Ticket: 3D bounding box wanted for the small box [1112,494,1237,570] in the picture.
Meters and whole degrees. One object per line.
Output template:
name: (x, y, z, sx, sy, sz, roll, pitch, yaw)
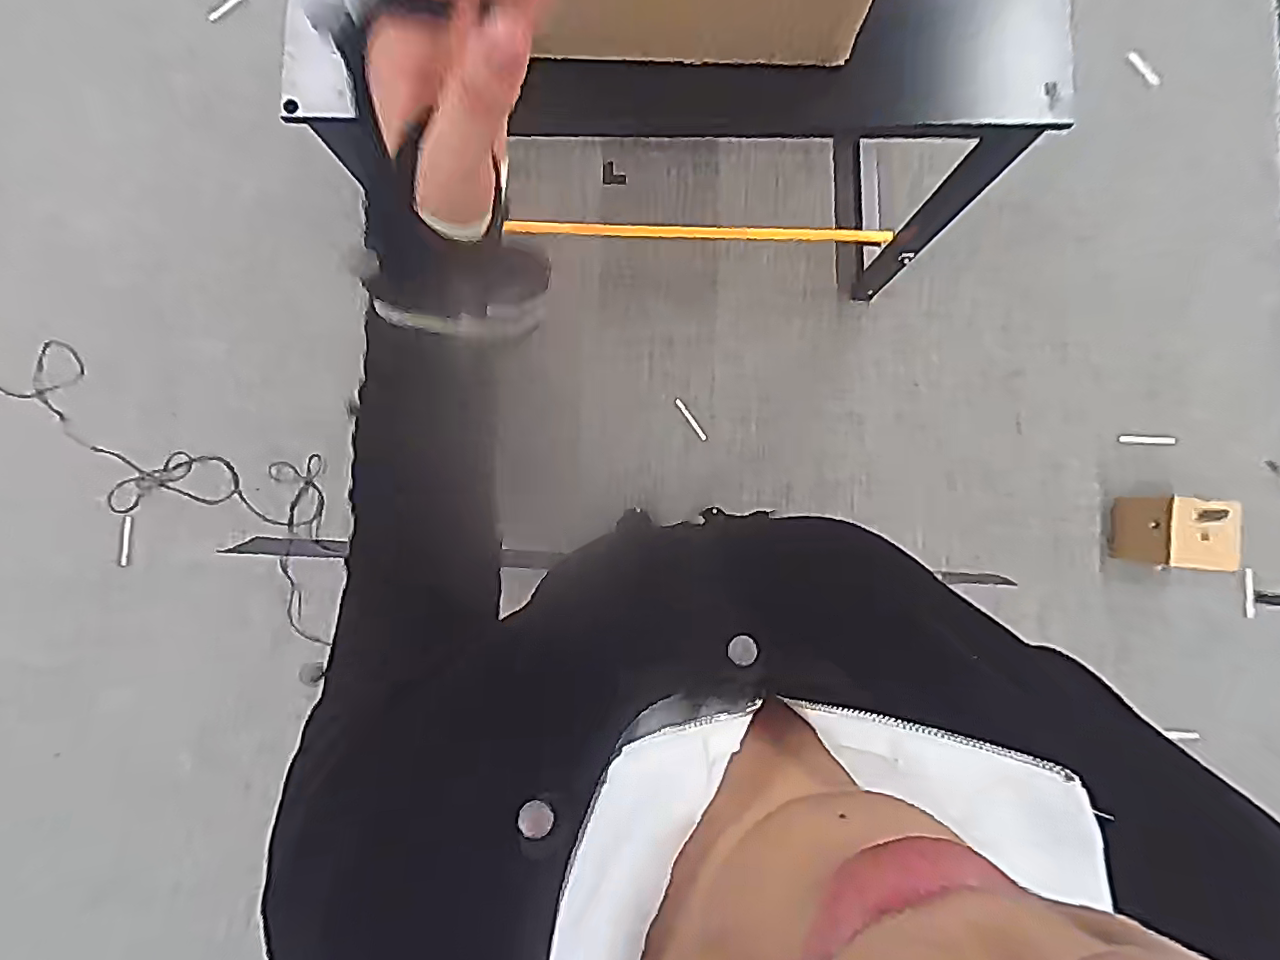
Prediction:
small box: (1.386, 0.132, 1.412, 0.168, 0.176, 0.179, 5, 88, 1)
